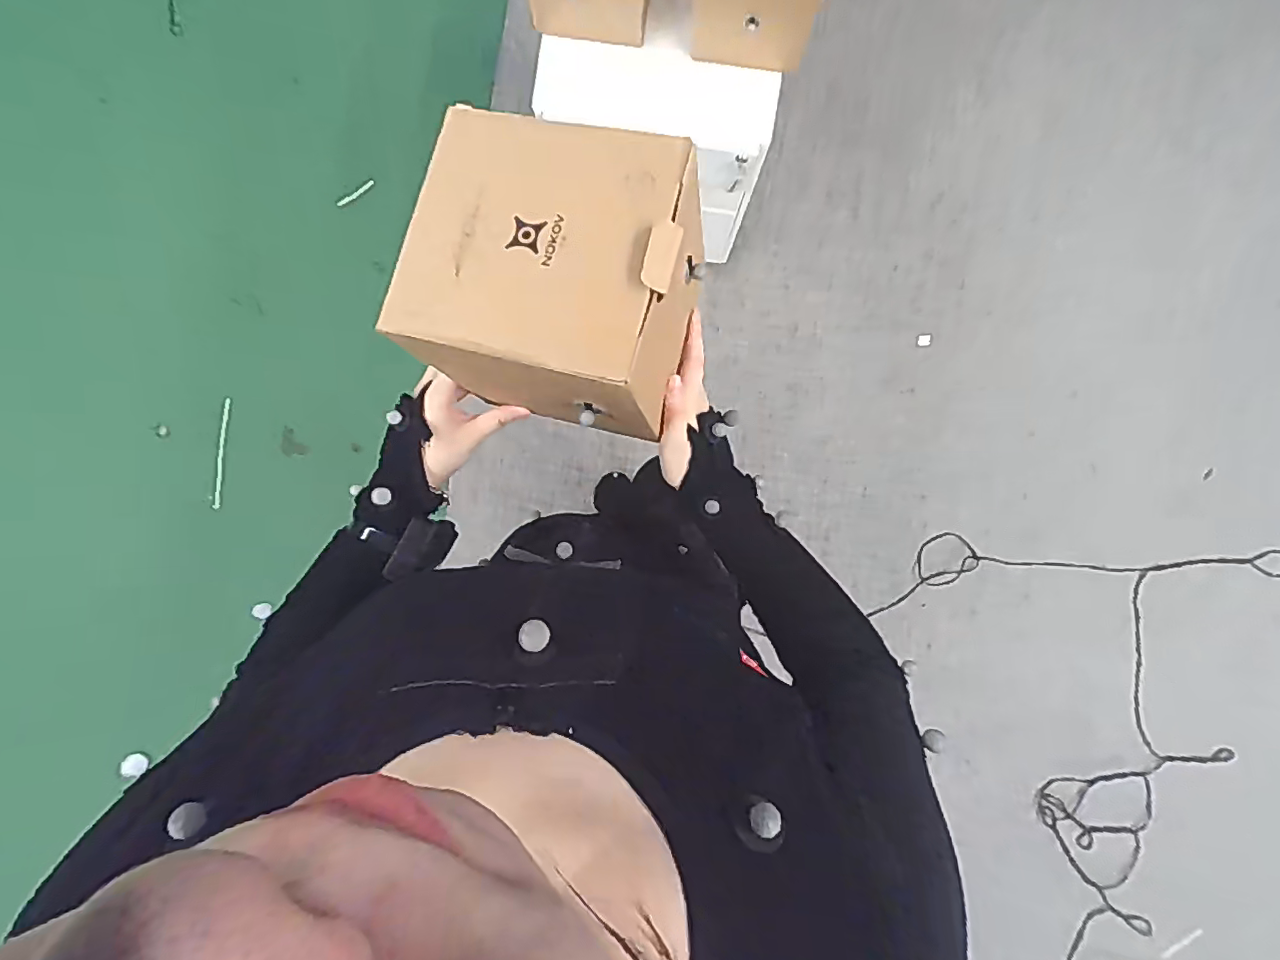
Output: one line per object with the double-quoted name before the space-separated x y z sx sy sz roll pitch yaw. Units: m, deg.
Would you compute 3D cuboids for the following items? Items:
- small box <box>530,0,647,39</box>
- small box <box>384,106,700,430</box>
"small box" -0.074 -0.789 0.783 0.179 0.176 0.168 8 94 0
"small box" -0.055 -0.147 0.427 0.179 0.176 0.168 14 83 11
